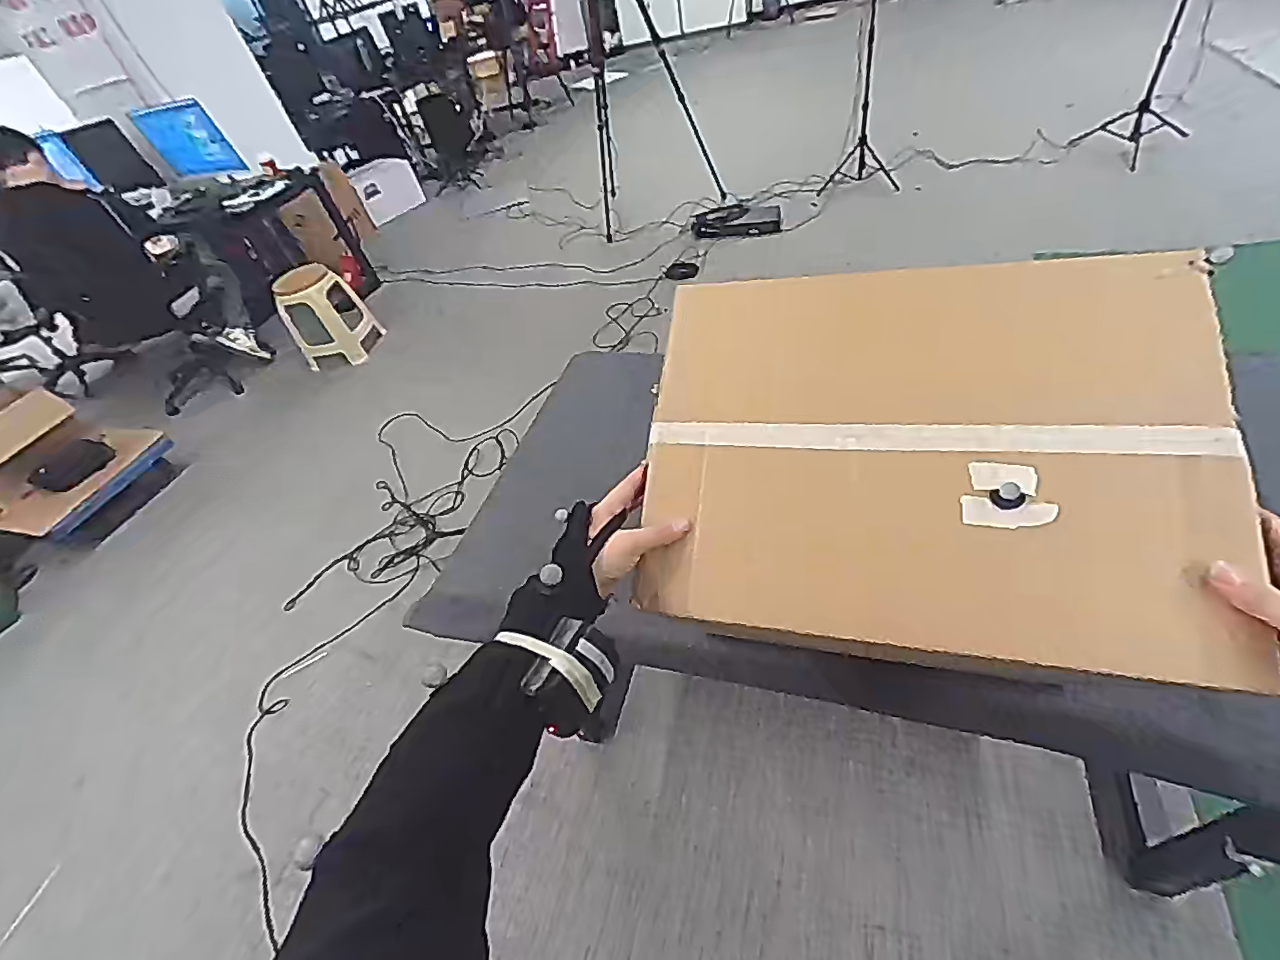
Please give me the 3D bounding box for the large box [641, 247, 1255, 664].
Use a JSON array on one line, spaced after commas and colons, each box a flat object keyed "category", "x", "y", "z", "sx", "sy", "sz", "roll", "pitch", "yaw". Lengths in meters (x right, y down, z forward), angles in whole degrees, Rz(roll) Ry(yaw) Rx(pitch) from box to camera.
[{"category": "large box", "x": 0.246, "y": 0.006, "z": 0.566, "sx": 0.408, "sy": 0.320, "sz": 0.320, "roll": 3, "pitch": 73, "yaw": 18}]
